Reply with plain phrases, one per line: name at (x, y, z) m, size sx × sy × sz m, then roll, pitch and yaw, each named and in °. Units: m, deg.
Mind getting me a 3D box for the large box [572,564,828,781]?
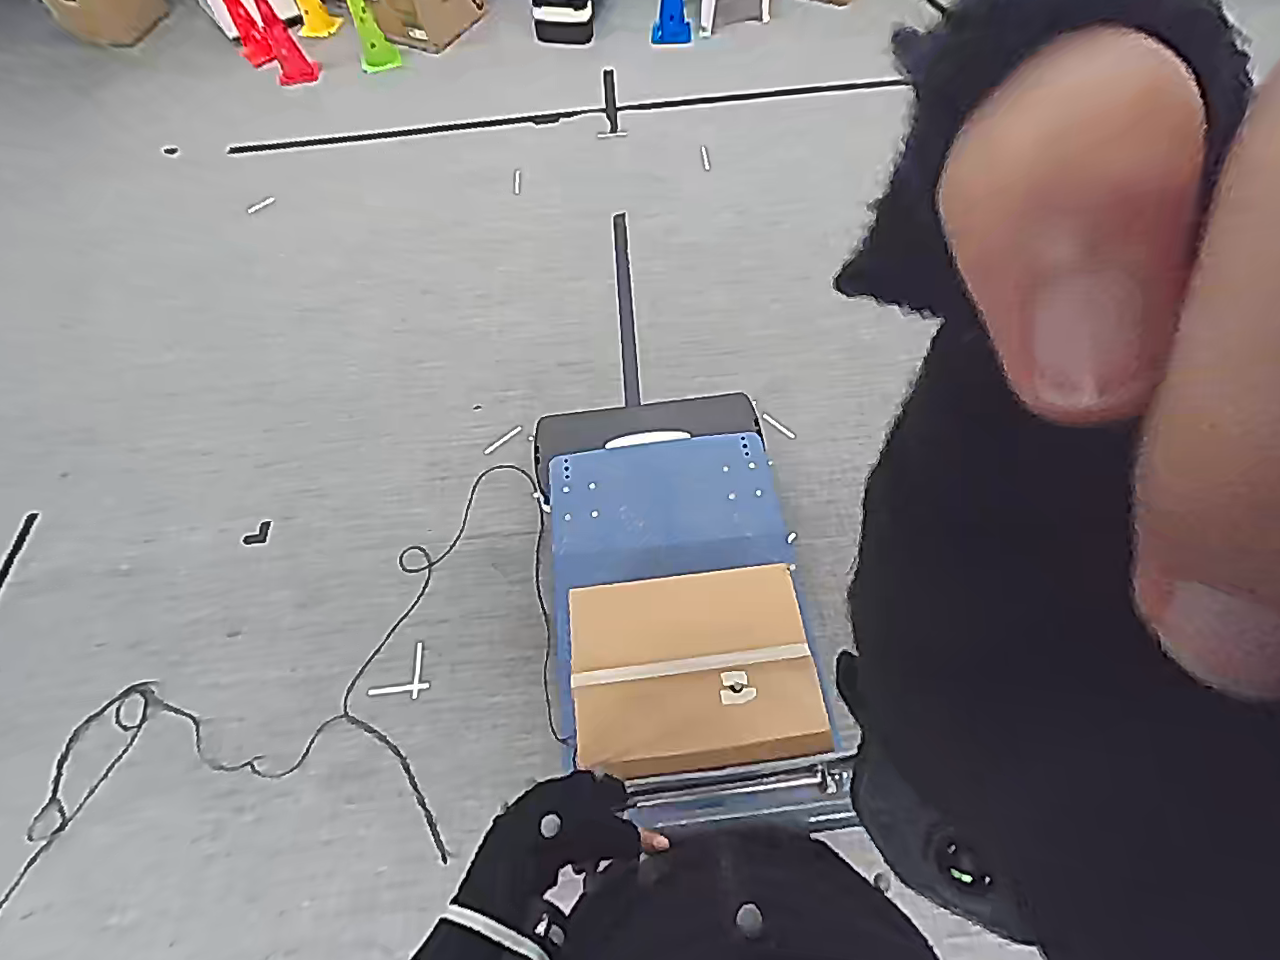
large box at (0.092, 0.387, 1.064) m, size 0.408 × 0.320 × 0.320 m, roll -7°, pitch 63°, yaw -2°
